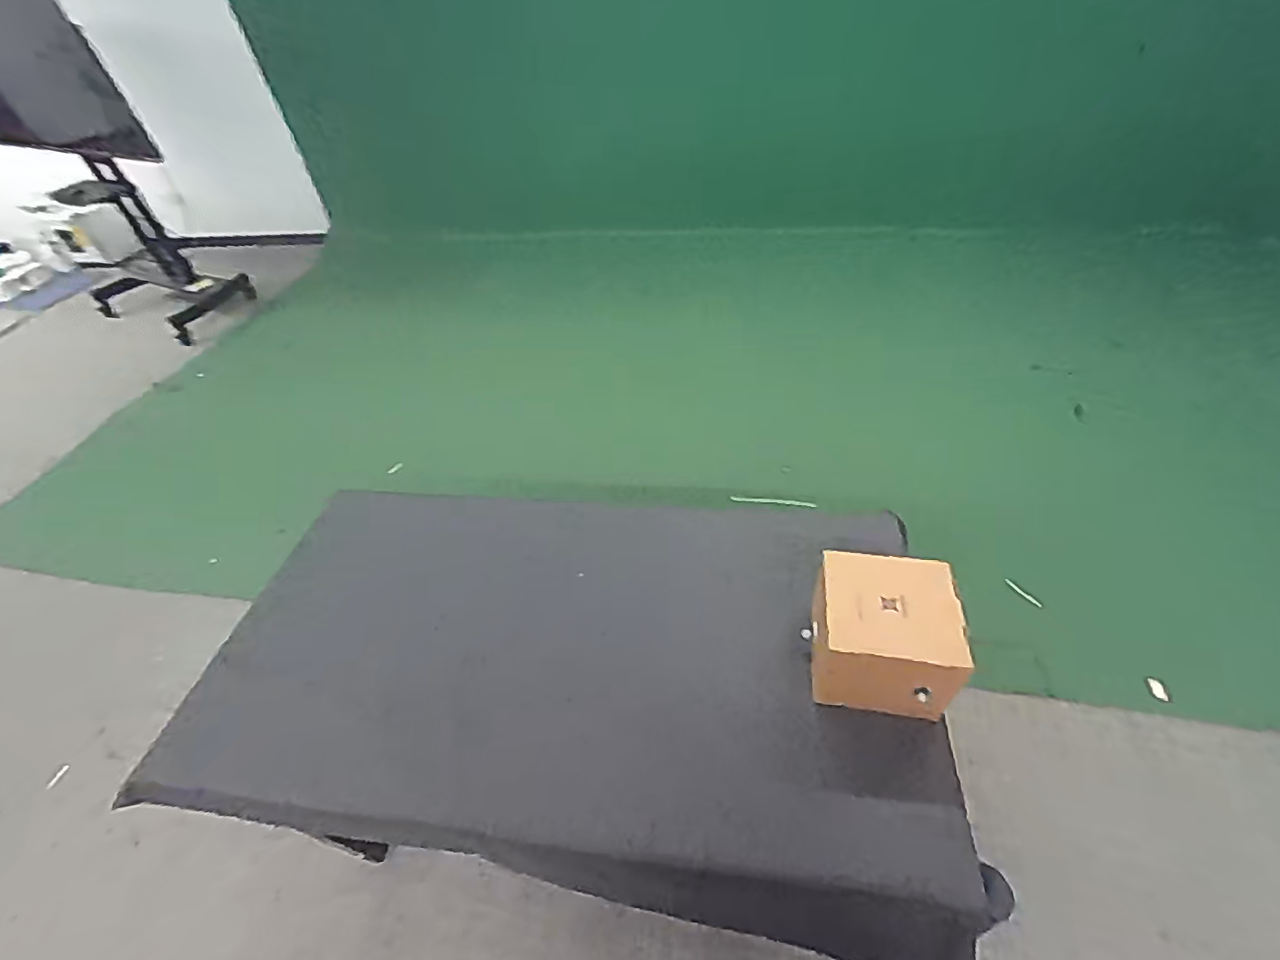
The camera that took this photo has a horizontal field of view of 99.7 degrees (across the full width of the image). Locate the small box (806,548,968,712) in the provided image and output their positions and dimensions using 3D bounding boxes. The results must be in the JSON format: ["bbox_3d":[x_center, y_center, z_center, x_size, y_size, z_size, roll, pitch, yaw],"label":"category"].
[{"bbox_3d":[0.344,0.222,0.793,0.179,0.176,0.168,3,46,12],"label":"small box"}]
